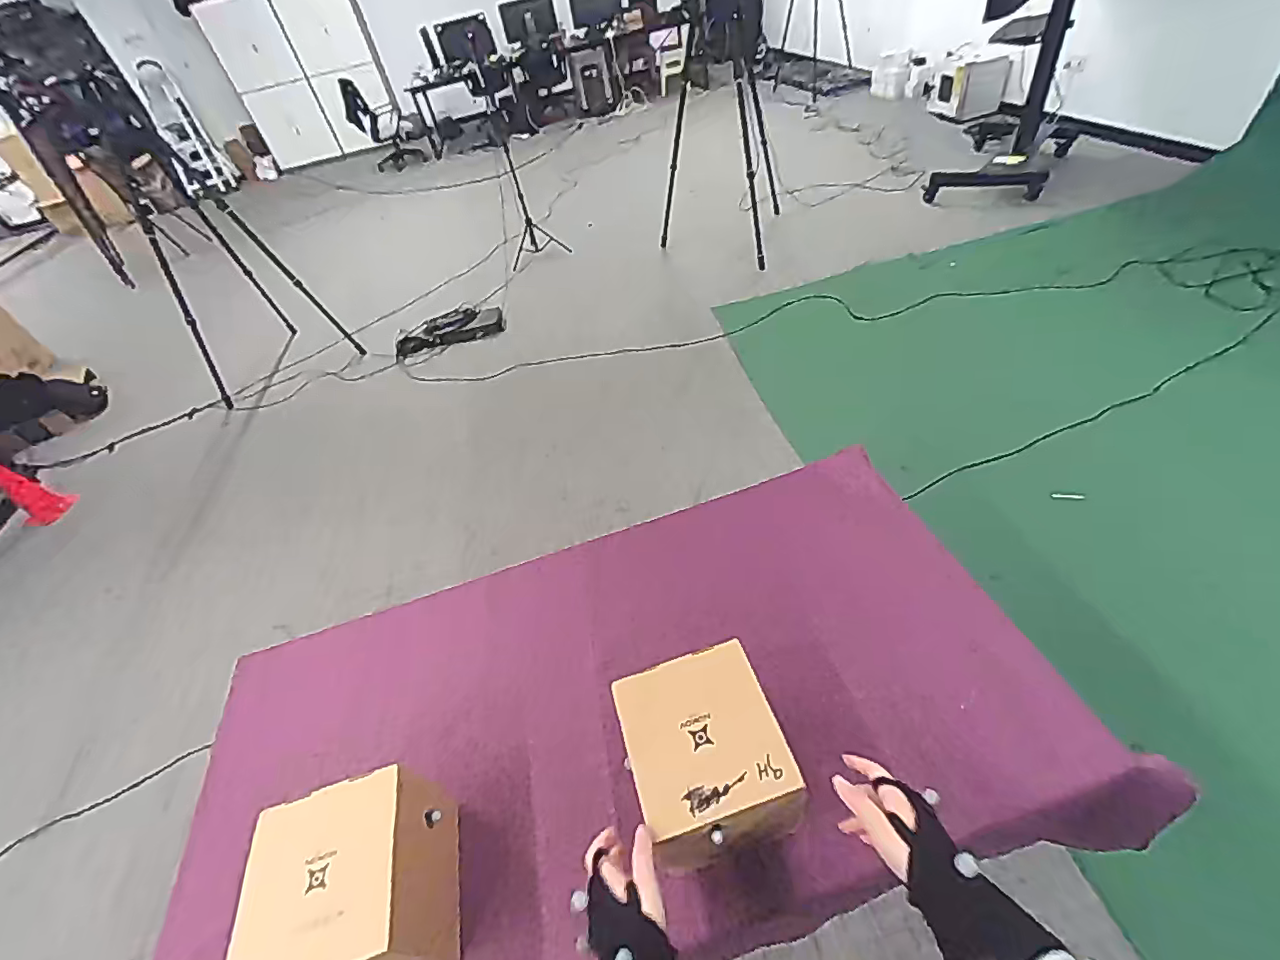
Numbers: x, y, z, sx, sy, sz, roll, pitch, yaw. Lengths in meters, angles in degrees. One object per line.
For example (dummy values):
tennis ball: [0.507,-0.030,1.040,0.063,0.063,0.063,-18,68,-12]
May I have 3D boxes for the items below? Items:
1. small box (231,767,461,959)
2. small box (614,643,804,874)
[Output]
small box: [-0.317,0.469,0.619,0.168,0.176,0.179,-18,45,-3]
small box: [0.080,0.334,0.649,0.168,0.176,0.179,-19,44,-3]
